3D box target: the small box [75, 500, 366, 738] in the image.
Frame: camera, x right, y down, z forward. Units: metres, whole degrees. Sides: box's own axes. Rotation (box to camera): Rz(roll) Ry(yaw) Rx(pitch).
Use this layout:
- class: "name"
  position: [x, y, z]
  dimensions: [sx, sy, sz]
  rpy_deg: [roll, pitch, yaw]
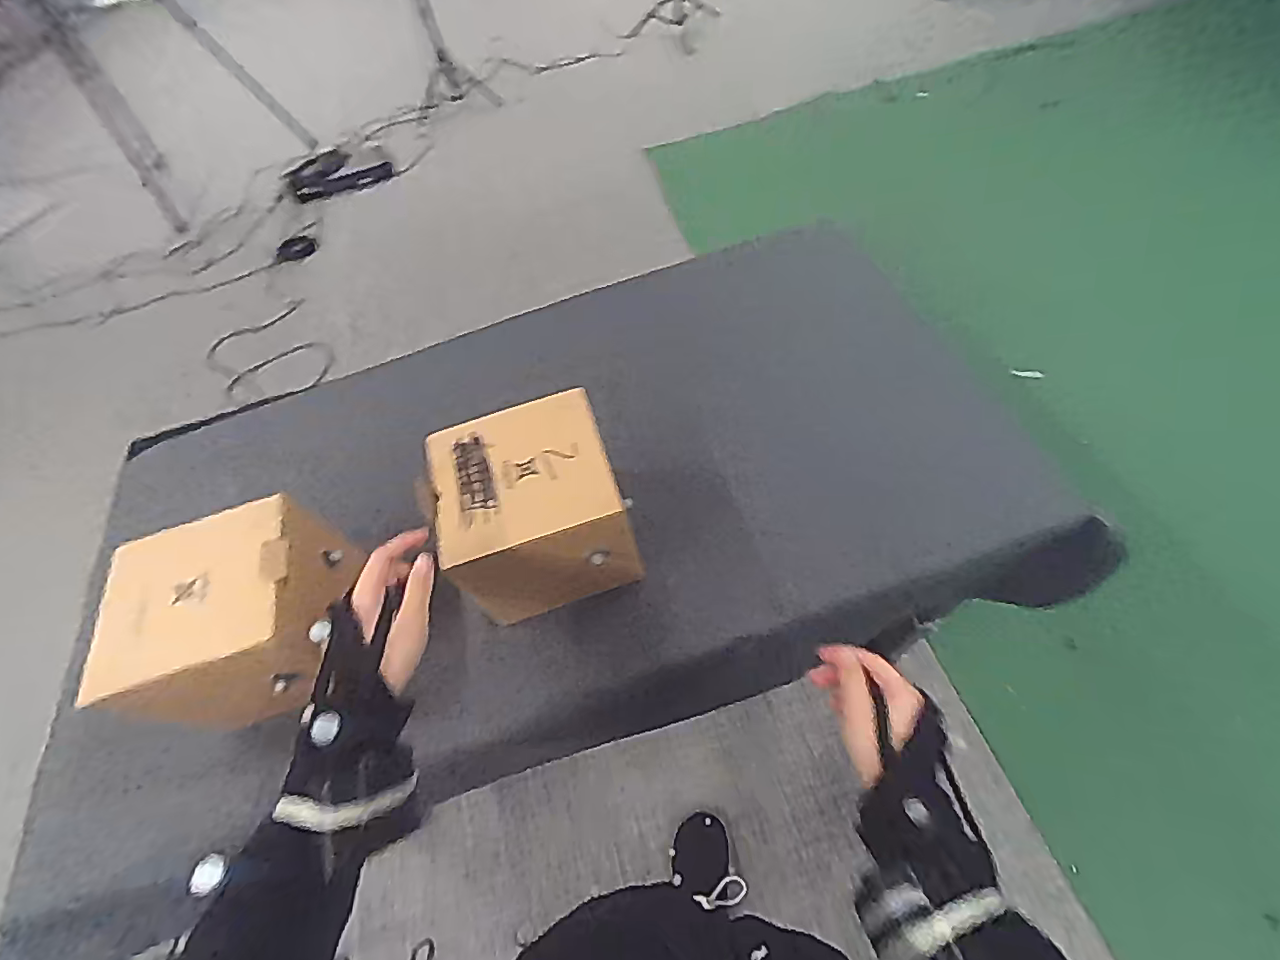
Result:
- class: "small box"
  position: [-0.414, 0.153, 0.576]
  dimensions: [0.179, 0.176, 0.168]
  rpy_deg: [-20, 56, -3]
